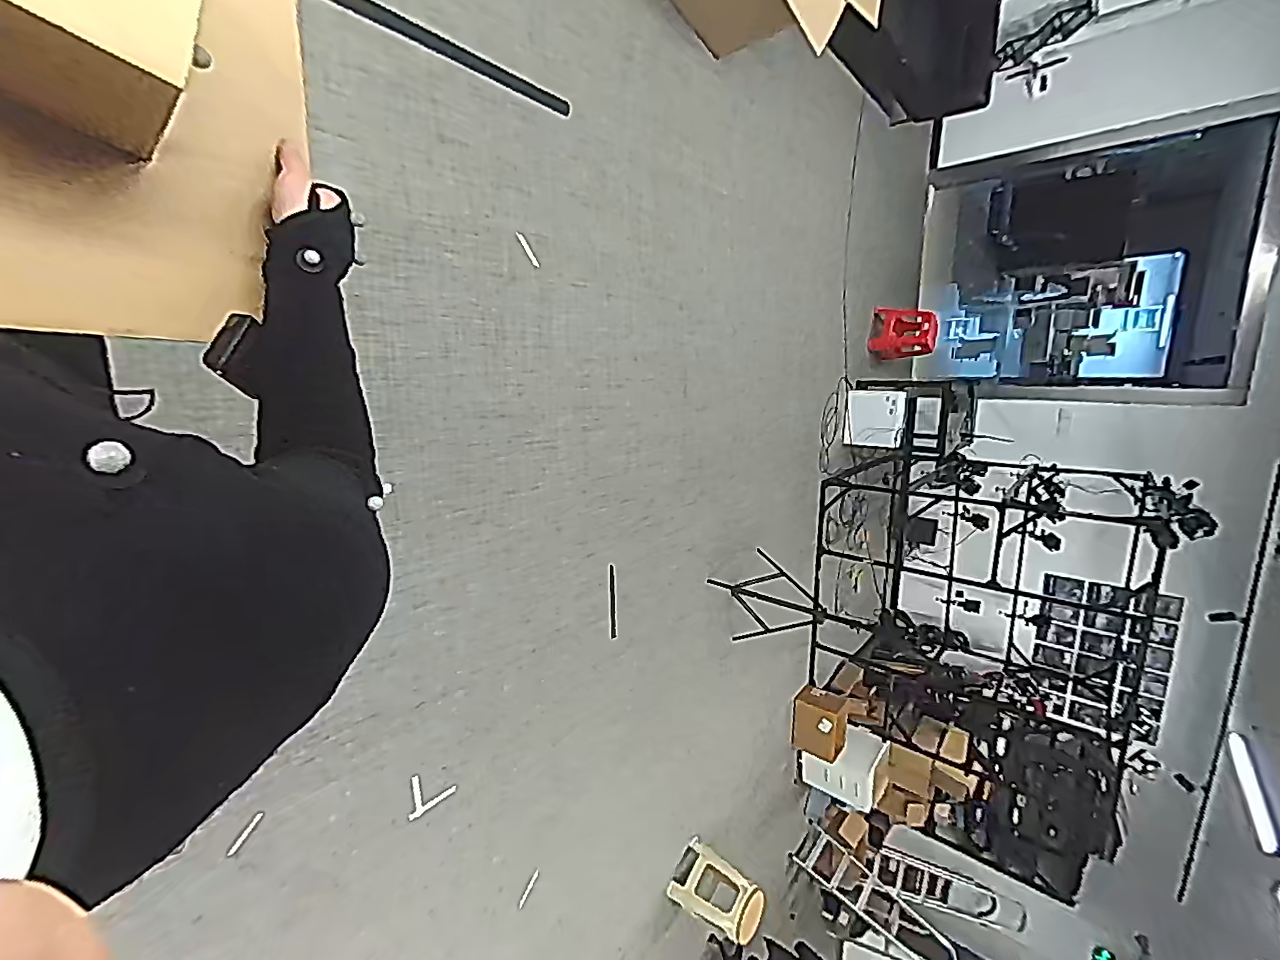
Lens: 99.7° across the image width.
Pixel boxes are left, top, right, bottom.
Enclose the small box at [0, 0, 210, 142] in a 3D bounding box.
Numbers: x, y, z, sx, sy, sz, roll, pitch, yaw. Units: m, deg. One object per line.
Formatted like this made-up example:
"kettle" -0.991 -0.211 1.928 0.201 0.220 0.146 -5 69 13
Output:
"small box" -0.402 -0.357 0.352 0.179 0.176 0.168 10 90 -47
